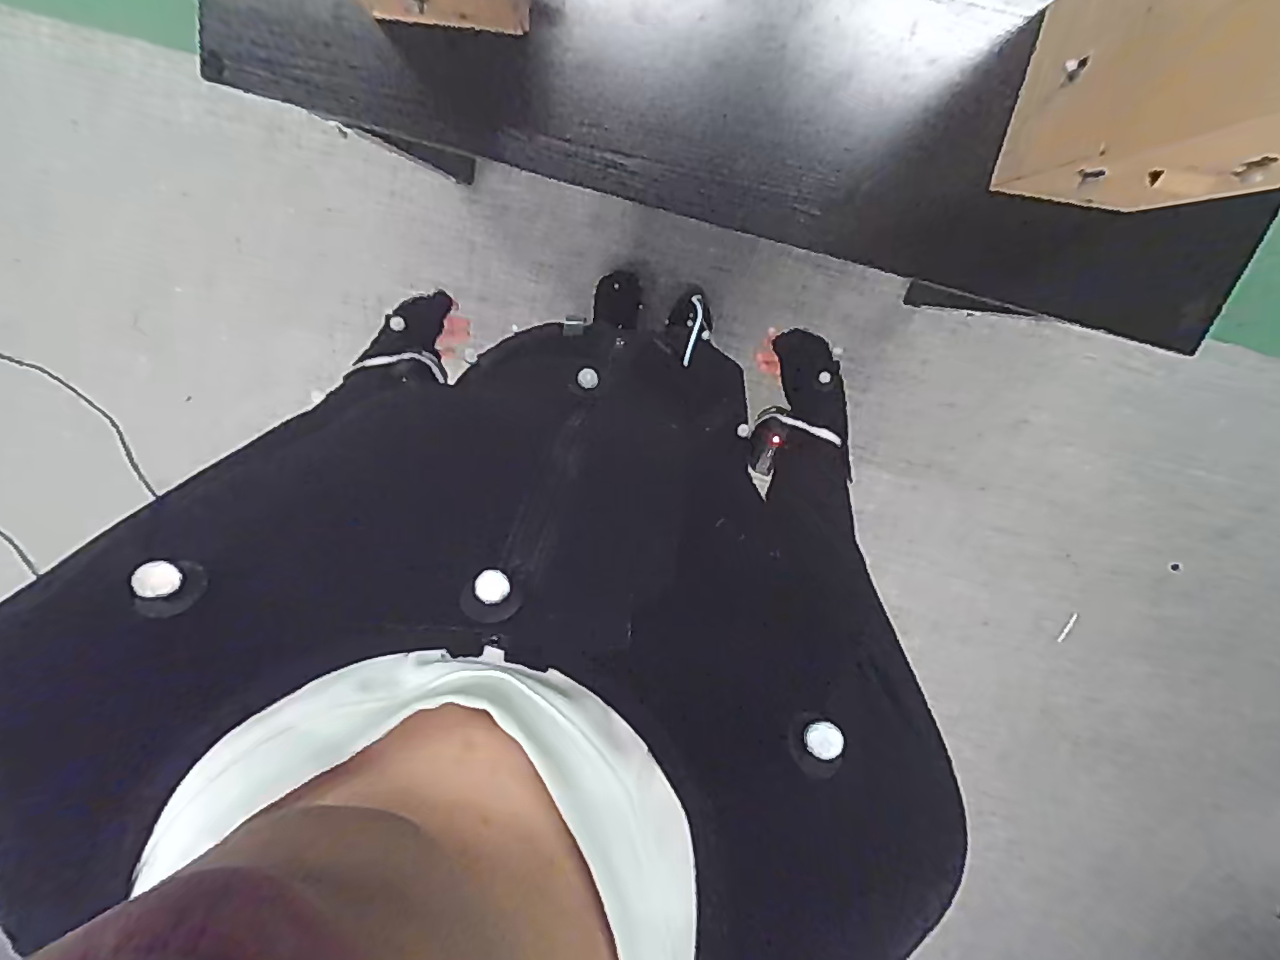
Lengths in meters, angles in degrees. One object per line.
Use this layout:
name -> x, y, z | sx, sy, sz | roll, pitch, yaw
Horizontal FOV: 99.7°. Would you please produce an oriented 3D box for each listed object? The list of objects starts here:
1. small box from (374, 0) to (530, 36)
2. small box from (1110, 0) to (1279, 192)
small box -> -0.190, -0.533, 0.468 | 0.168, 0.176, 0.179 | 6, 111, -1
small box -> 0.479, -0.312, 0.361 | 0.168, 0.176, 0.179 | 7, 110, -1
